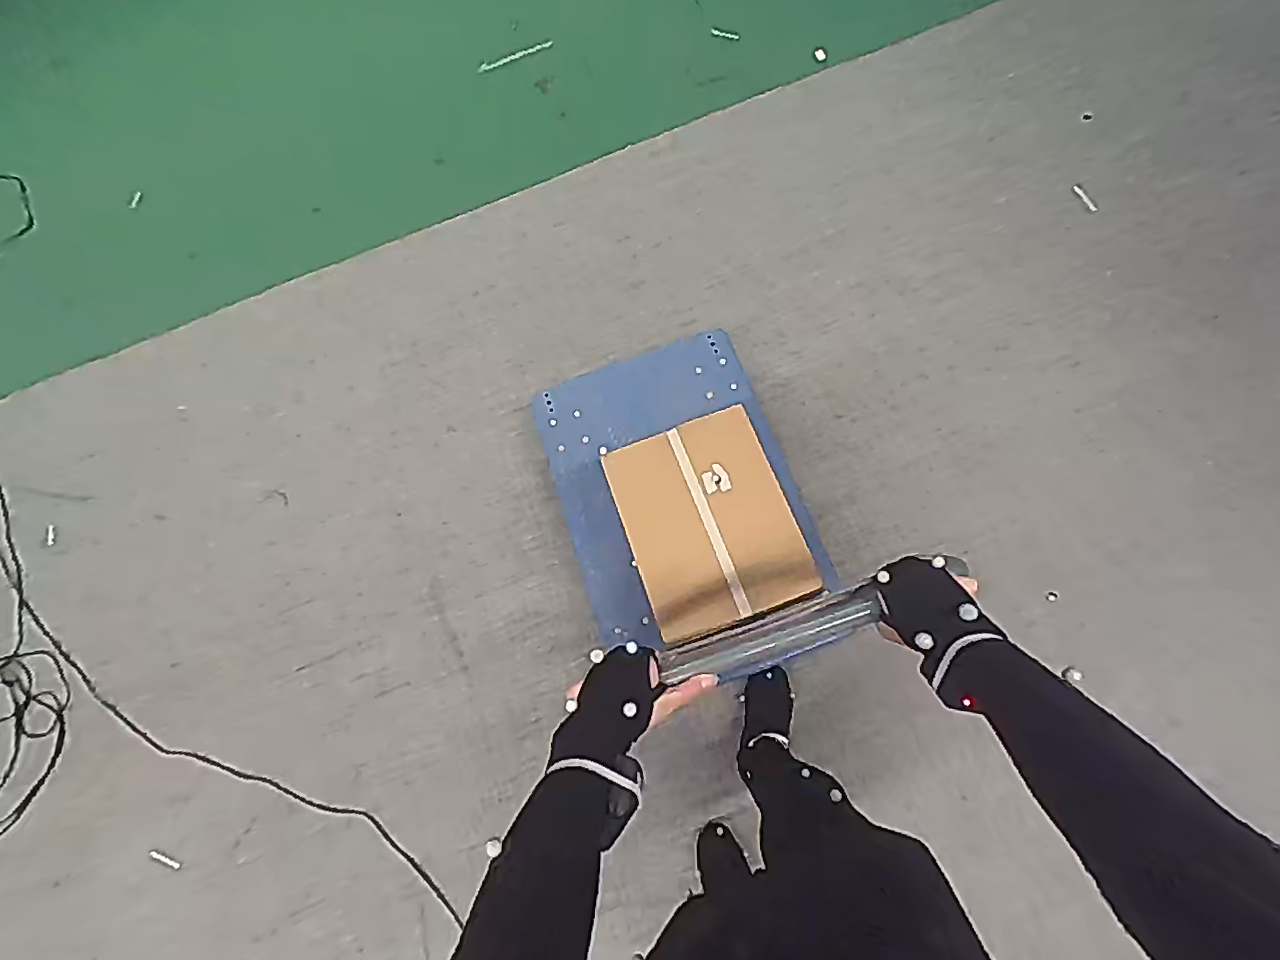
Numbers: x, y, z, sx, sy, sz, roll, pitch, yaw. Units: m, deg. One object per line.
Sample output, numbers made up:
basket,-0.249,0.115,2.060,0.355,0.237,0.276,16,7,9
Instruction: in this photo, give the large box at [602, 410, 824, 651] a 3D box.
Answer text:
large box,0.148,0.127,1.188,0.320,0.320,0.408,-20,70,-1
